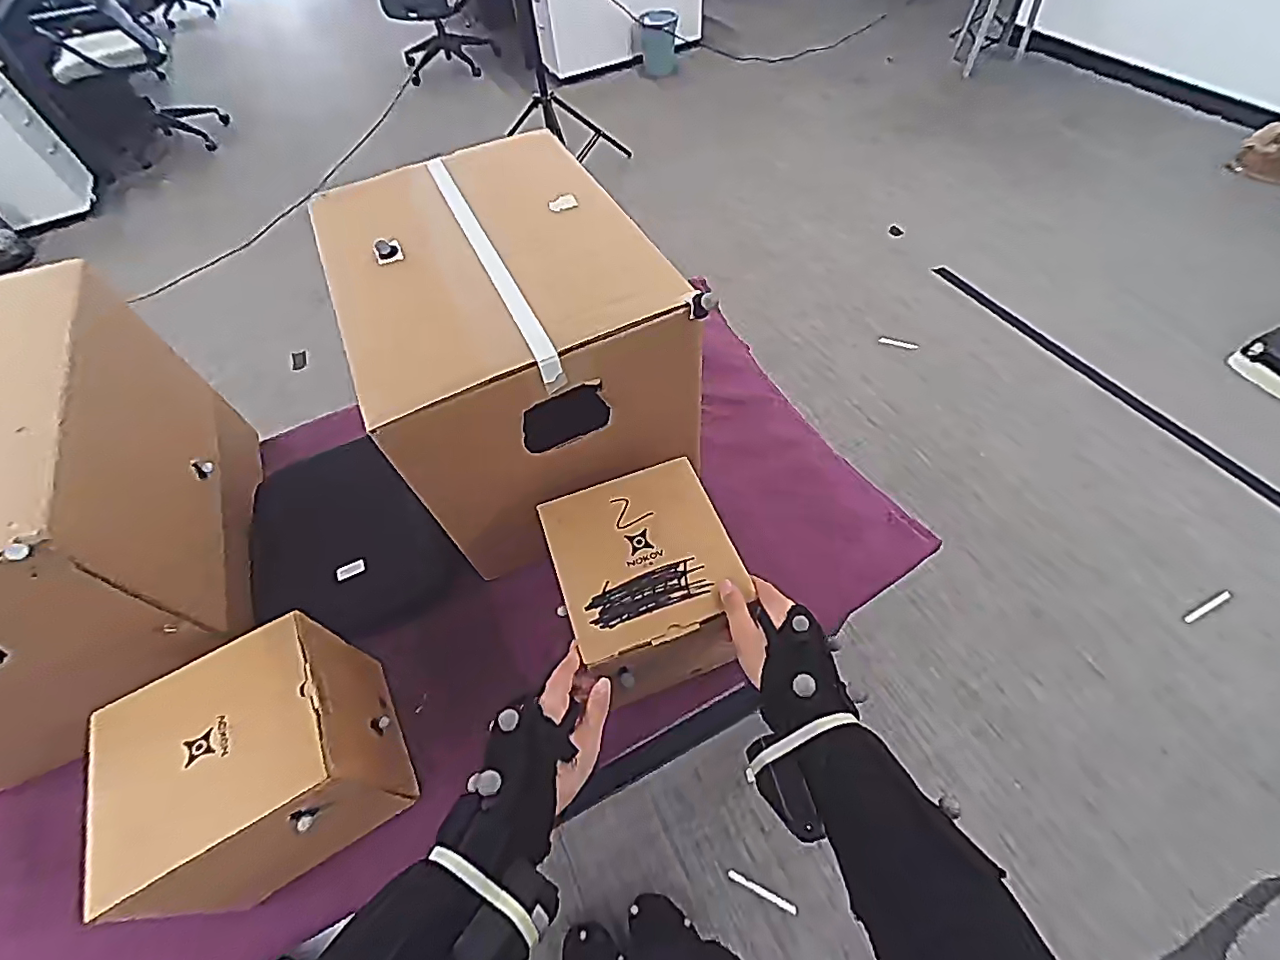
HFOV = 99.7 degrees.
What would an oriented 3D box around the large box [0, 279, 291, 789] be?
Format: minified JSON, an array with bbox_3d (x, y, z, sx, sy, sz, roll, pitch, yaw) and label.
[{"bbox_3d":[-0.655,0.058,0.602,0.320,0.320,0.408,-26,60,-12],"label":"large box"}]
